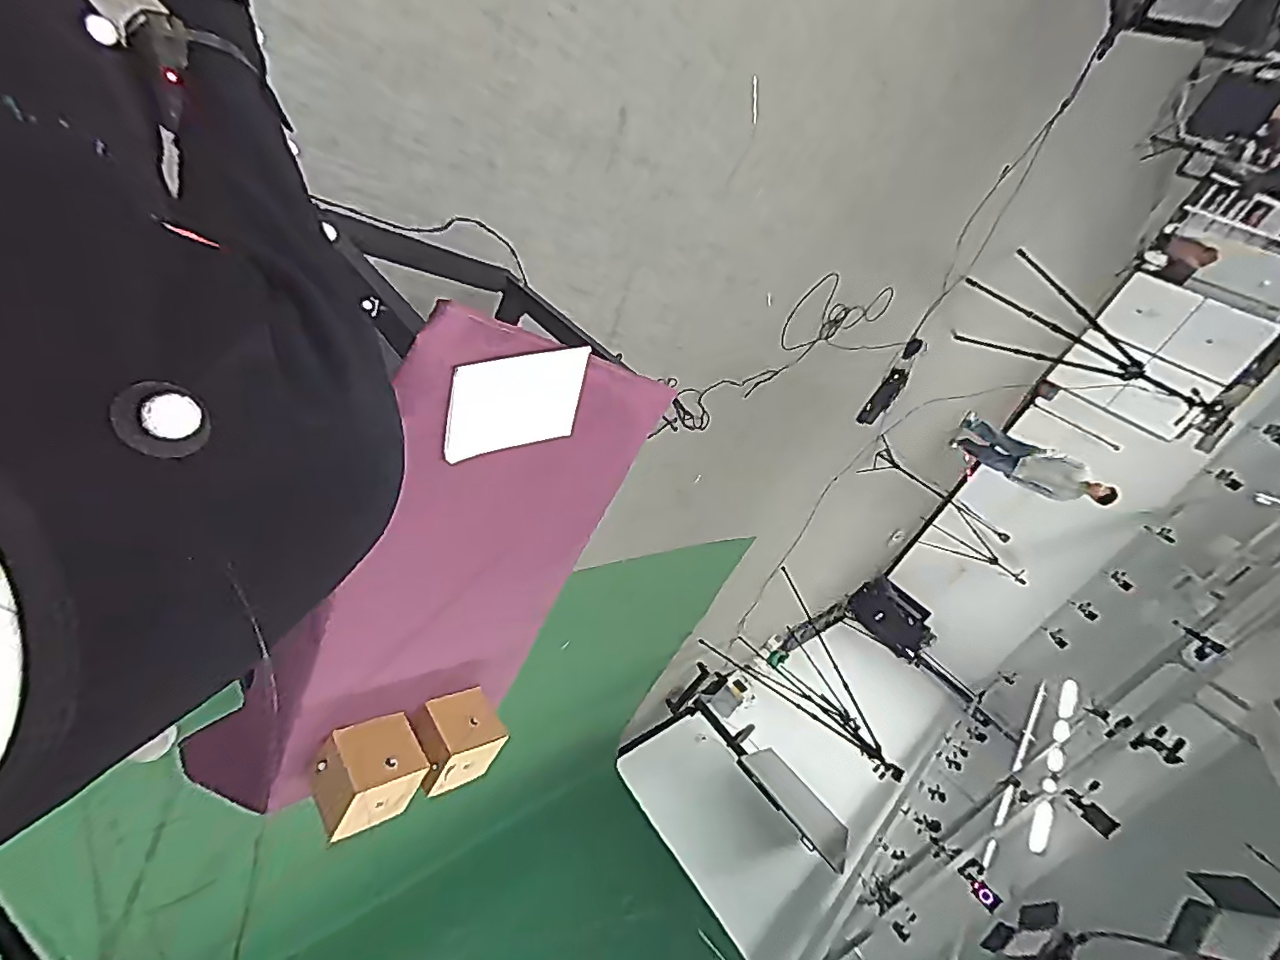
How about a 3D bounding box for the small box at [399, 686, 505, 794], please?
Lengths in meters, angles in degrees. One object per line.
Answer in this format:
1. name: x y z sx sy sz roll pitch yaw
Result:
1. small box: -0.500 0.678 1.435 0.179 0.176 0.168 6 121 -54
